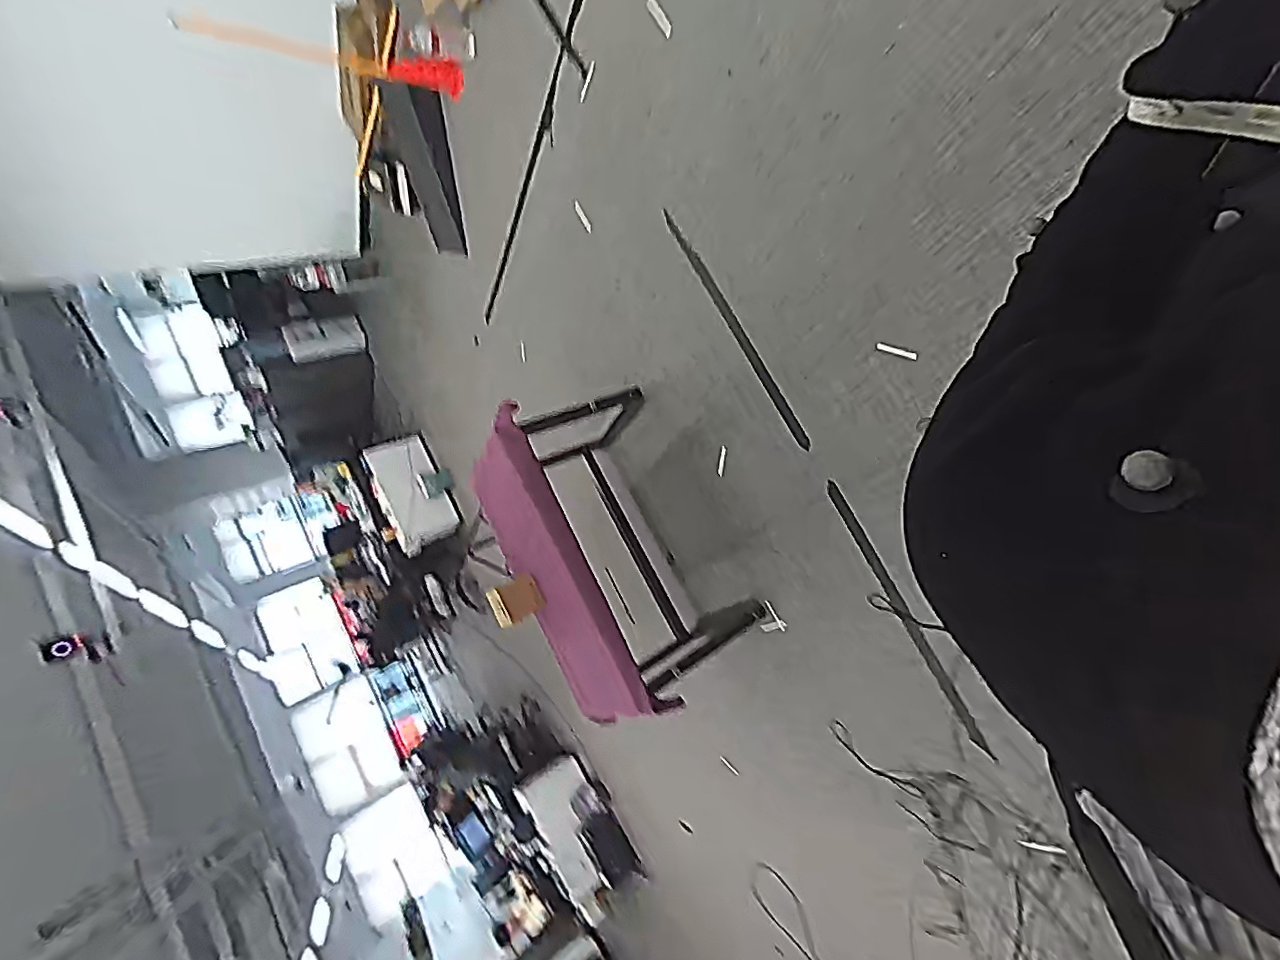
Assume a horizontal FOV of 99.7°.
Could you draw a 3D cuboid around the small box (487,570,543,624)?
[{"bbox_3d":[-0.544,0.511,2.370,0.179,0.176,0.168,-34,80,56],"label":"small box"}]
